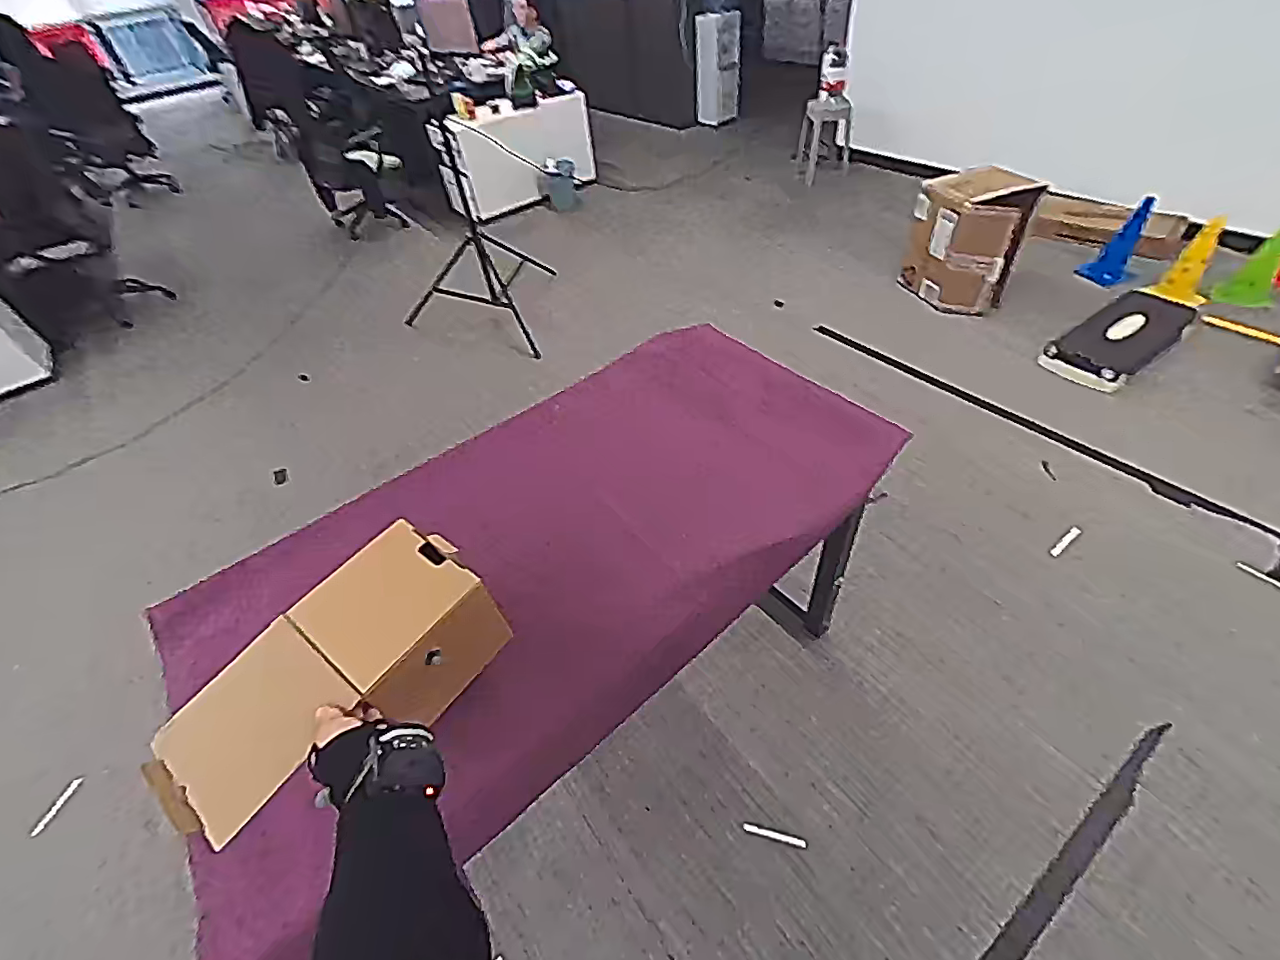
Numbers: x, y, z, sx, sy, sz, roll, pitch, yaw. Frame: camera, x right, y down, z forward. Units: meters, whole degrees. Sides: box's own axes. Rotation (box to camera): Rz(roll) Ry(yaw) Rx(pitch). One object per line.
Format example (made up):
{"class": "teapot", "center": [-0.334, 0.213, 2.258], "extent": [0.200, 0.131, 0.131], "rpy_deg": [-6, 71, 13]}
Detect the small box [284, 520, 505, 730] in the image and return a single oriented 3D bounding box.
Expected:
{"class": "small box", "center": [-0.307, 0.194, 0.713], "extent": [0.168, 0.176, 0.179], "rpy_deg": [29, 59, 25]}
